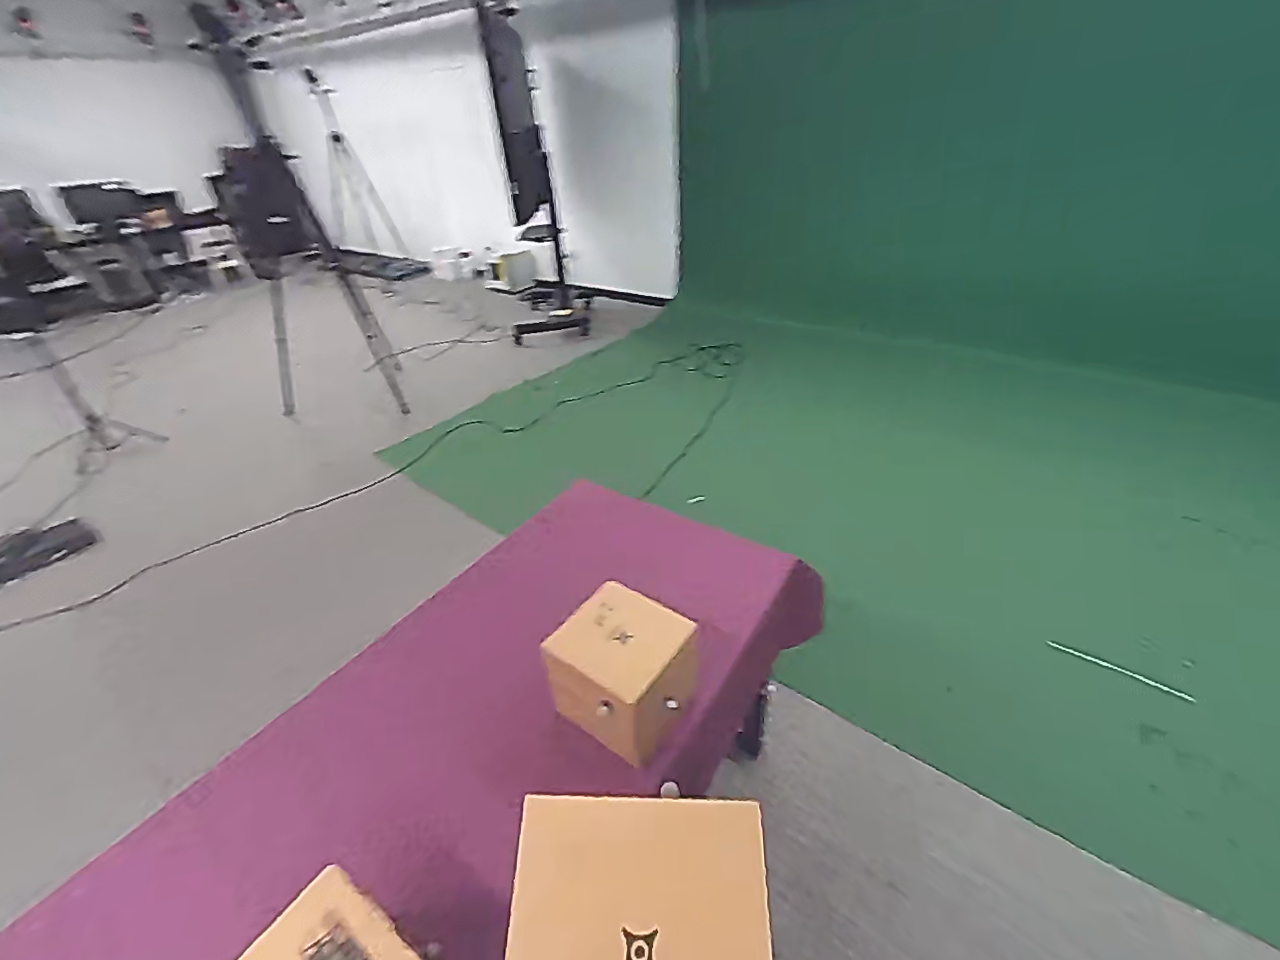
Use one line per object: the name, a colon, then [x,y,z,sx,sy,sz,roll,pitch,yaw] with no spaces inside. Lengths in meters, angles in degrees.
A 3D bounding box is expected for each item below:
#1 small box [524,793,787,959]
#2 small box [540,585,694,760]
small box: [0.008,0.340,0.398,0.168,0.176,0.179,2,58,1]
small box: [-0.029,0.305,0.856,0.179,0.176,0.168,21,41,32]
